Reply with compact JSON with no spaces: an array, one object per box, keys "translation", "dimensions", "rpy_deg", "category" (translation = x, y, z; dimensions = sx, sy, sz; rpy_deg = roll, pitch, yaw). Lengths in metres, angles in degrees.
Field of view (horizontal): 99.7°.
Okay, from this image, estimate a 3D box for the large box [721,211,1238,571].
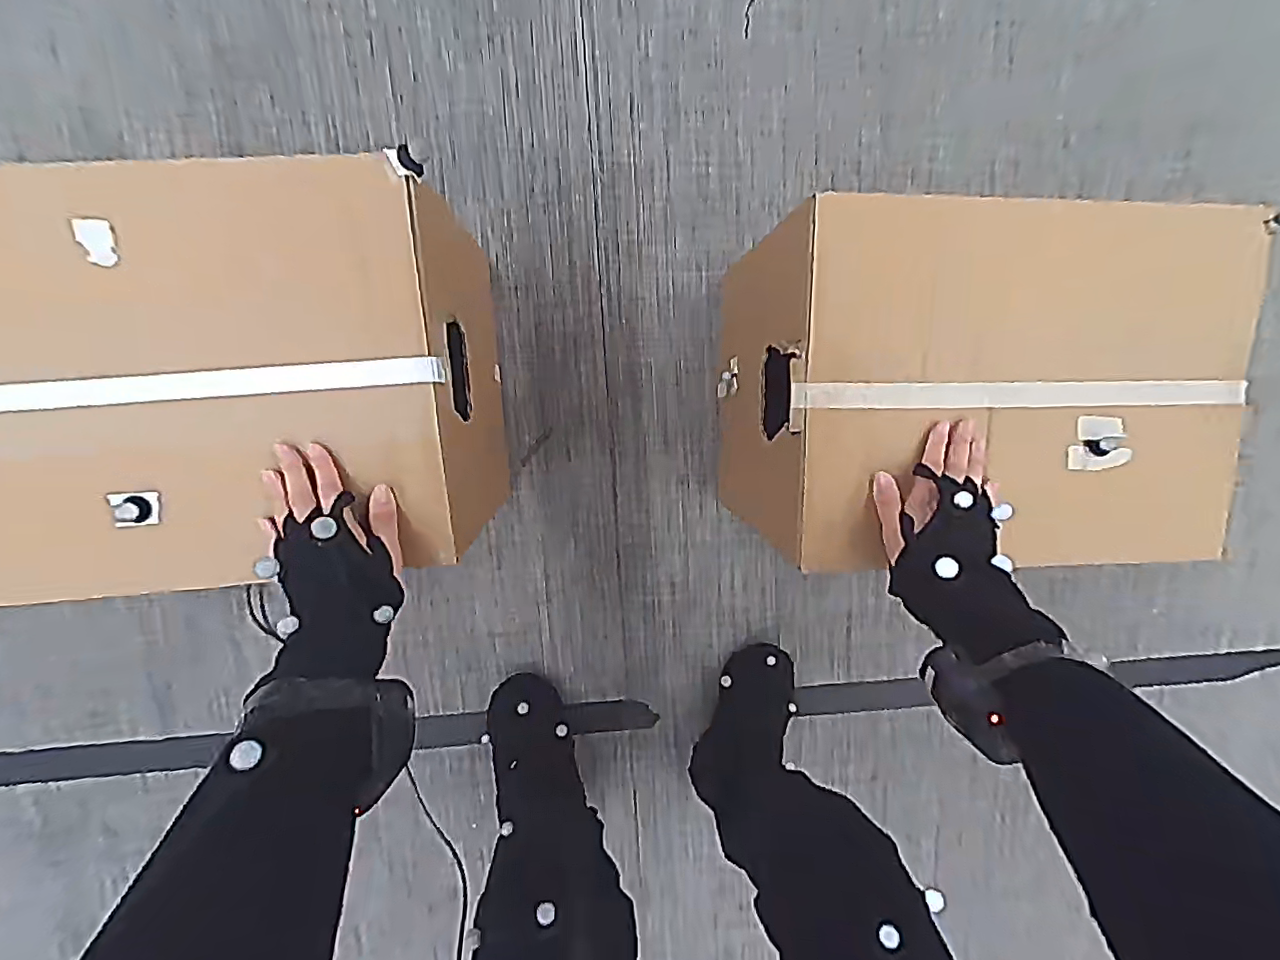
[{"translation":[0.324,-0.096,0.631],"dimensions":[0.408,0.320,0.320],"rpy_deg":[-1,99,-6],"category":"large box"}]
